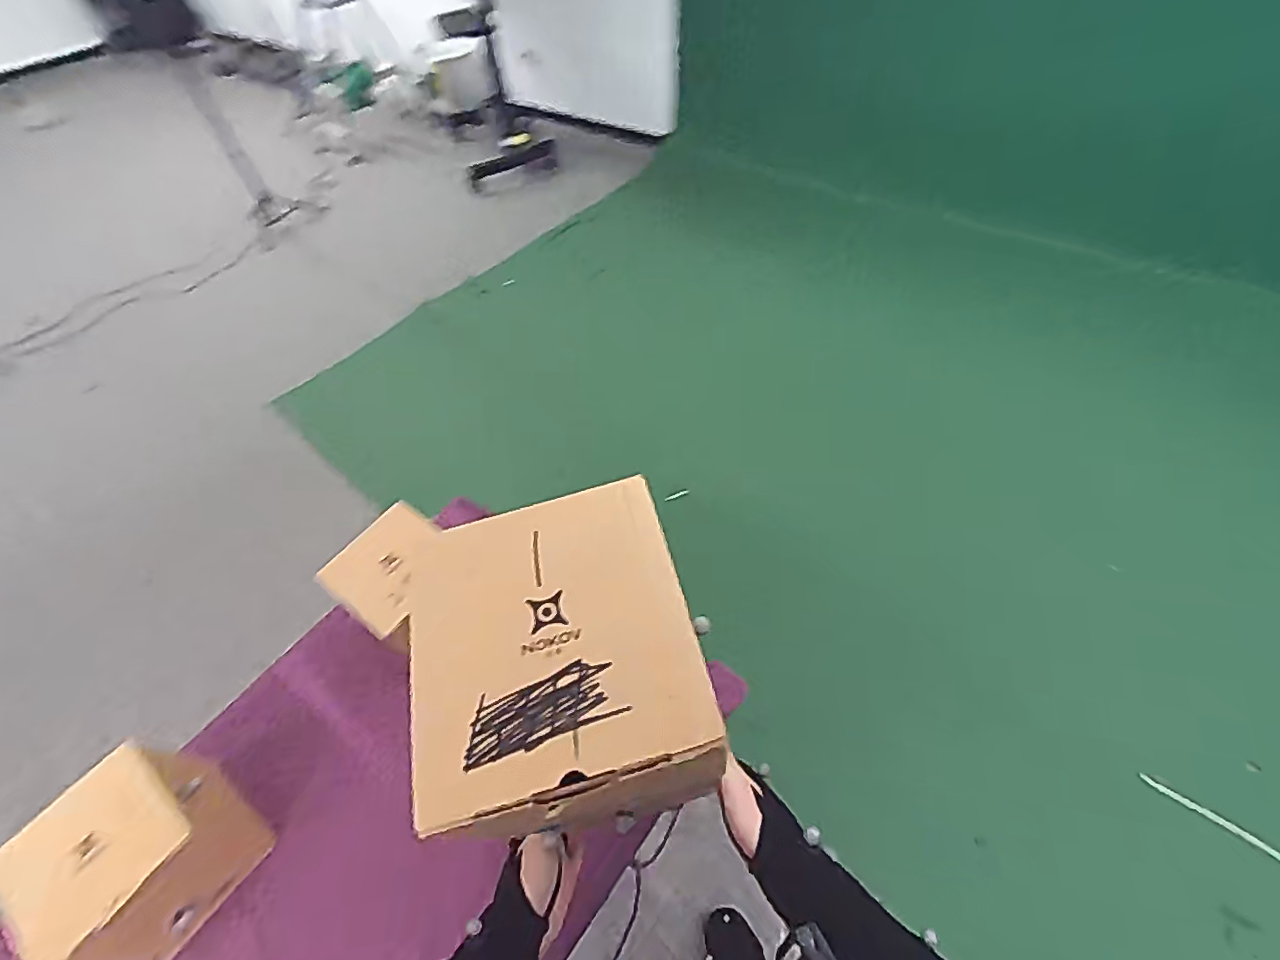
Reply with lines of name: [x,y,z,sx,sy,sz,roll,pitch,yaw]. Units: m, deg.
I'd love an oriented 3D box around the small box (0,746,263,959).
small box: [-0.628,0.473,0.670,0.179,0.176,0.168,29,59,22]

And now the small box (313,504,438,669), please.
small box: [-0.372,0.177,0.875,0.179,0.176,0.168,29,62,23]

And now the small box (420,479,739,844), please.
small box: [-0.036,0.131,0.376,0.168,0.176,0.179,-14,55,-2]
